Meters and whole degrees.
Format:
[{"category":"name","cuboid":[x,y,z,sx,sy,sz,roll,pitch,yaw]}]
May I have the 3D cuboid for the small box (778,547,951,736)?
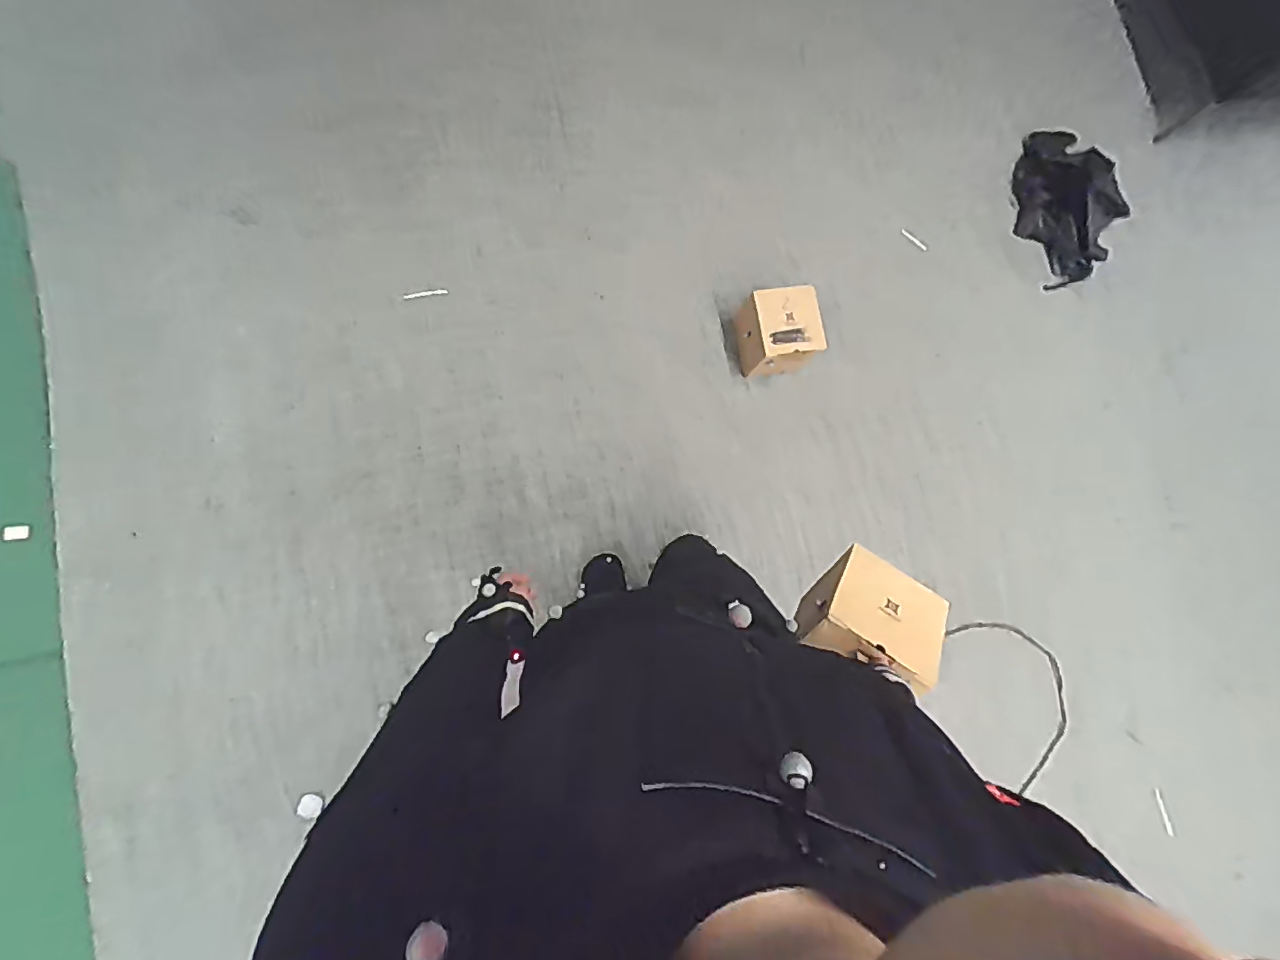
[{"category":"small box","cuboid":[0.334,0.243,0.818,0.168,0.176,0.179,33,43,11]}]
